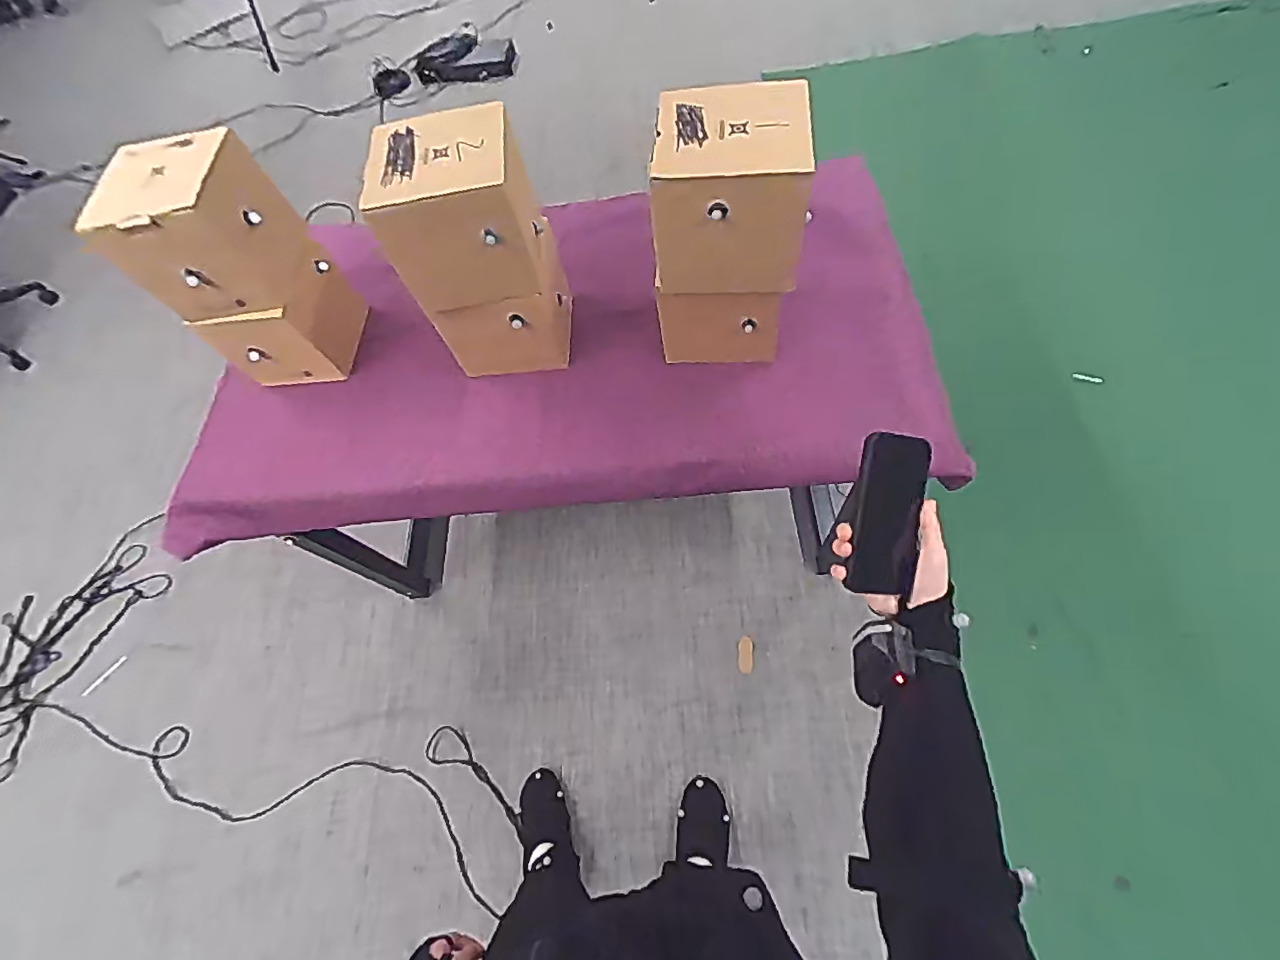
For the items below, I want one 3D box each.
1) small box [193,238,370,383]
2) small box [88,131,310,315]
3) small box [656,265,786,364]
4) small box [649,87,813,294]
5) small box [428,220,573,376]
[{"bbox_3d":[-0.599,-0.281,0.931,0.168,0.176,0.179,-3,63,7],"label":"small box"},{"bbox_3d":[-0.620,-0.361,0.789,0.168,0.176,0.179,-7,64,4],"label":"small box"},{"bbox_3d":[0.127,-0.293,0.832,0.179,0.176,0.168,2,64,10],"label":"small box"},{"bbox_3d":[0.114,-0.353,0.679,0.179,0.176,0.168,2,64,9],"label":"small box"},{"bbox_3d":[-0.212,-0.286,0.876,0.179,0.176,0.168,-4,63,7],"label":"small box"}]
